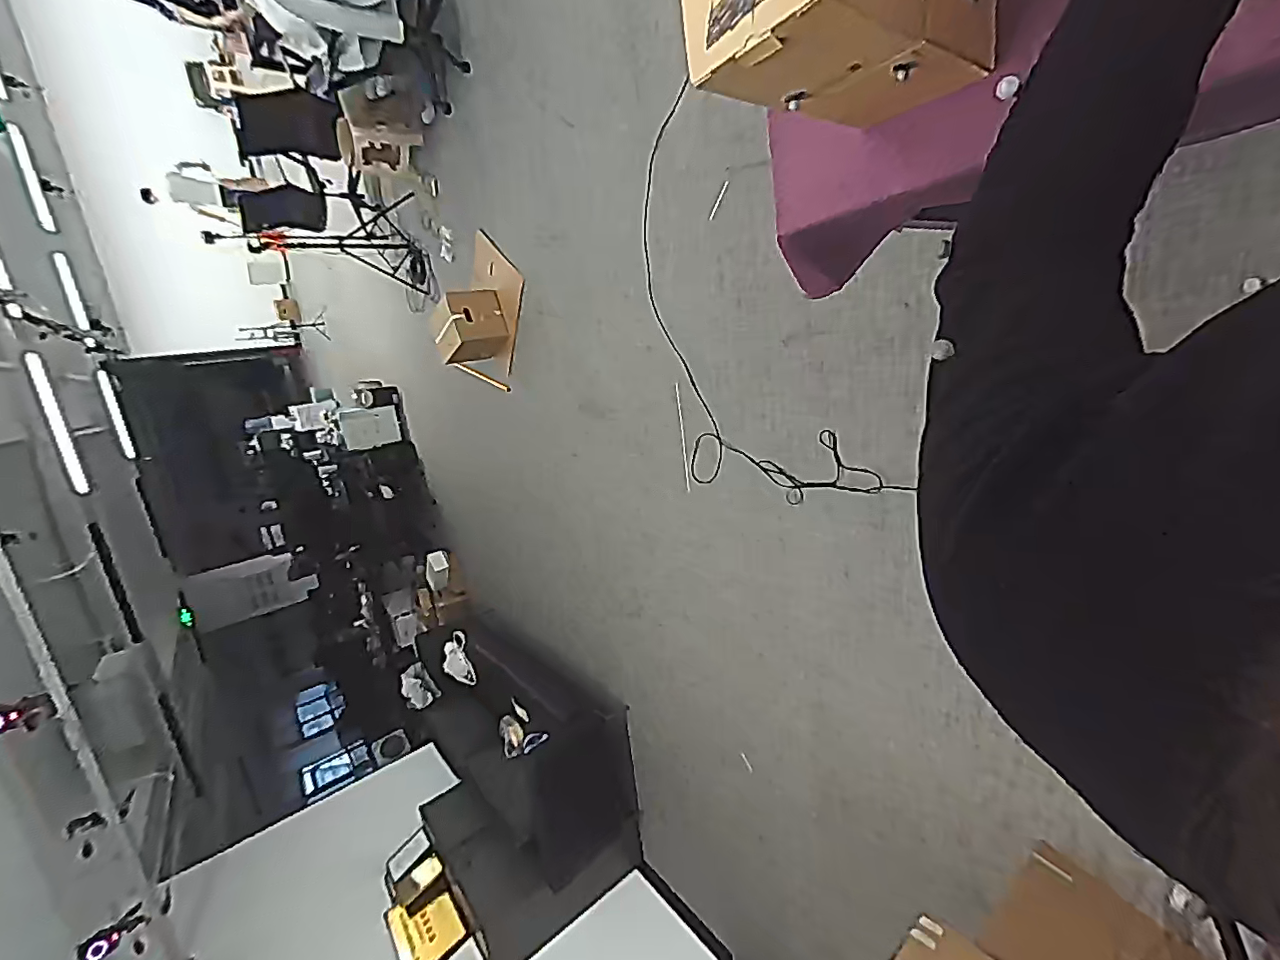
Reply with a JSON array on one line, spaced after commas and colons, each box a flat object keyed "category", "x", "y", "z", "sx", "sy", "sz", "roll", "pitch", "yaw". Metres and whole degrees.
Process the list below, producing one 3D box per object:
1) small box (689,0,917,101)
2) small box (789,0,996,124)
[{"category": "small box", "x": 0.165, "y": -0.521, "z": 0.553, "sx": 0.168, "sy": 0.176, "sz": 0.179, "roll": 8, "pitch": 109, "yaw": 52}, {"category": "small box", "x": 0.296, "y": -0.555, "z": 0.646, "sx": 0.179, "sy": 0.176, "sz": 0.168, "roll": 9, "pitch": 111, "yaw": 52}]
